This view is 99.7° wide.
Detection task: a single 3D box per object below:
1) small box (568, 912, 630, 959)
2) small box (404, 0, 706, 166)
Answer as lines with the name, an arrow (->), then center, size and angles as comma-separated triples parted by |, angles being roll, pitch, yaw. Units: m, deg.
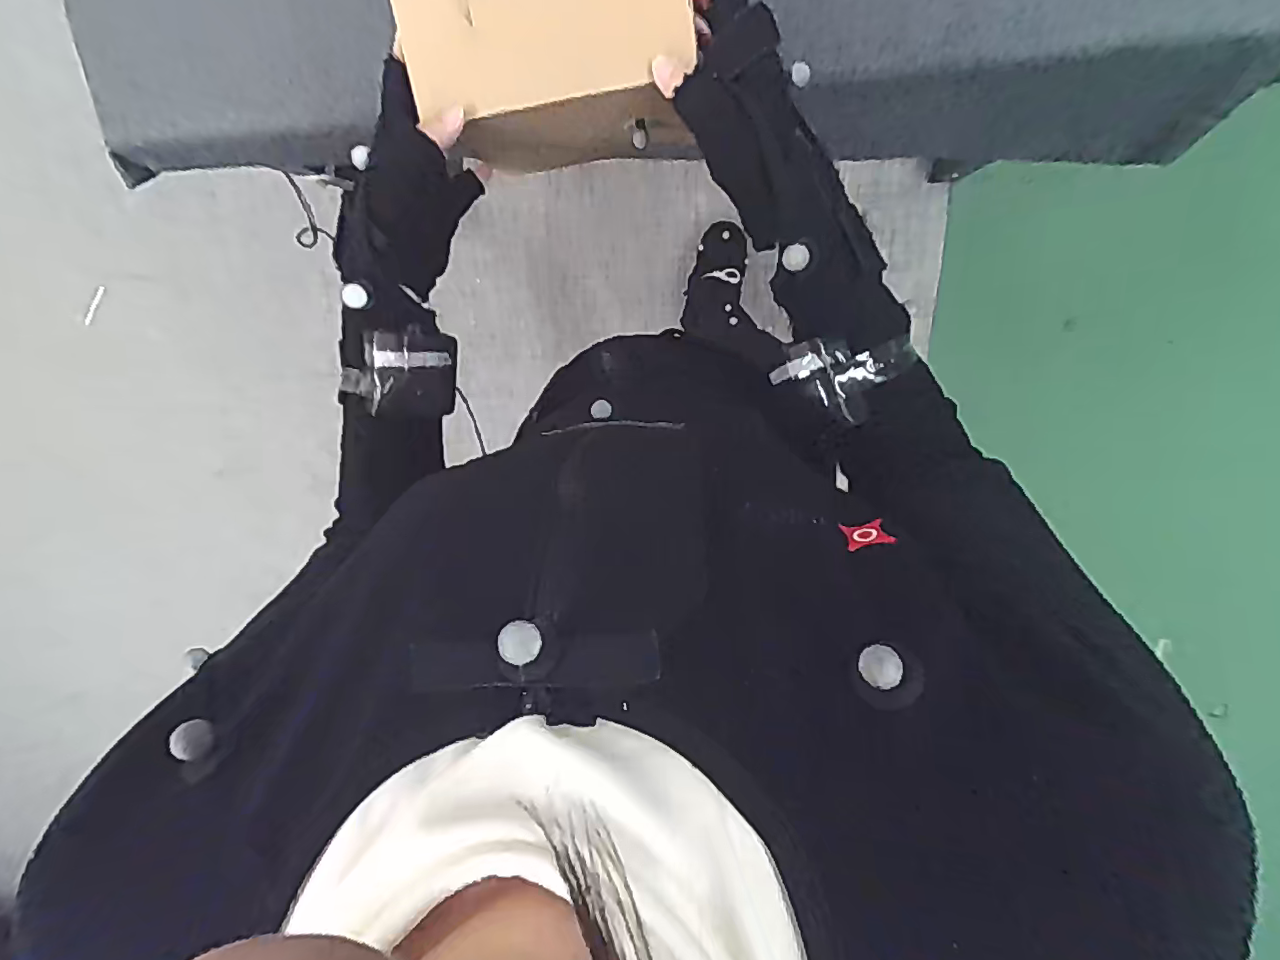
small box -> -0.146, 1.735, 1.990 | 0.179, 0.176, 0.168 | -7, 107, 12
small box -> -0.050, -0.342, 0.377 | 0.179, 0.176, 0.168 | -7, 108, 10
